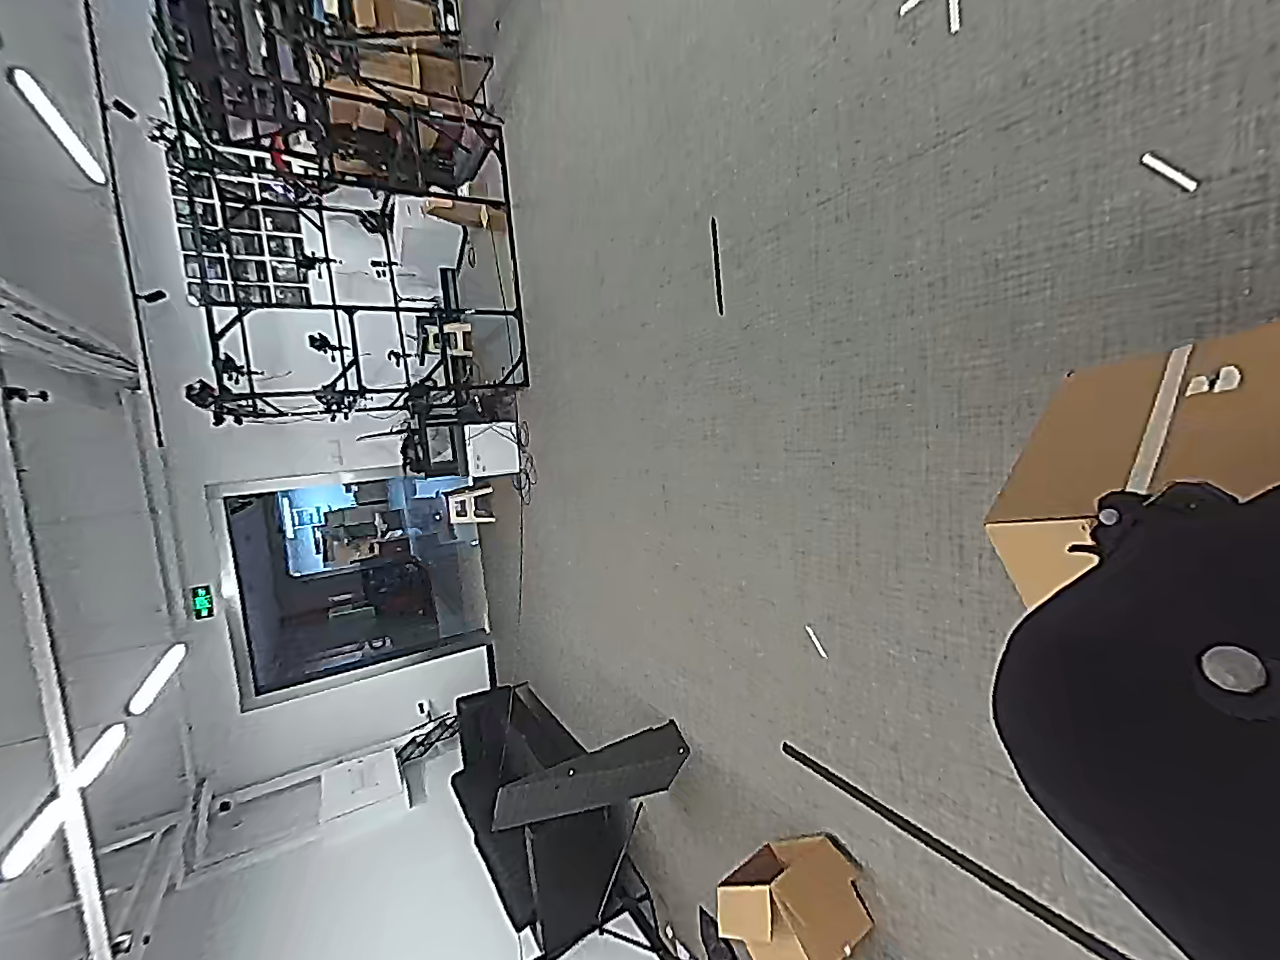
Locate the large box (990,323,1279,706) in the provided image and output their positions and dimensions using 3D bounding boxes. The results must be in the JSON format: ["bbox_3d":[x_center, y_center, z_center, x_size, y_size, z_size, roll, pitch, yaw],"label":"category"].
[{"bbox_3d":[0.767,0.040,0.739,0.320,0.408,0.320,56,151,-12],"label":"large box"}]
